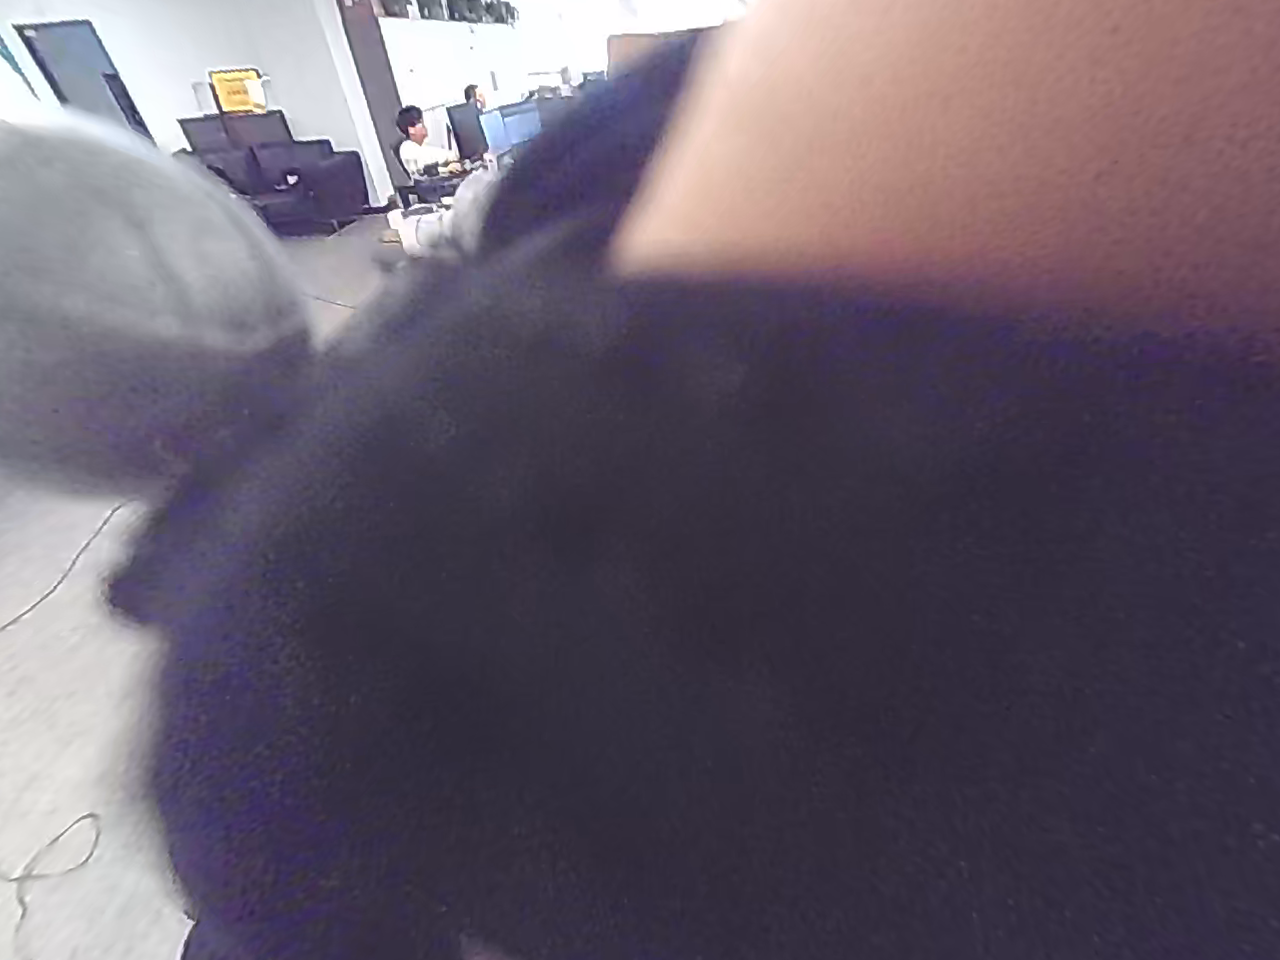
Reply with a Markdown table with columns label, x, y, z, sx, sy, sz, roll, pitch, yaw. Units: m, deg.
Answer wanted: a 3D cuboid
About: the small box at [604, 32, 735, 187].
| label | x | y | z | sx | sy | sz | roll | pitch | yaw |
| --- | --- | --- | --- | --- | --- | --- | --- | --- | --- |
| small box | 0.043 | -0.527 | 0.775 | 0.168 | 0.176 | 0.179 | -1 | 39 | 2 |
